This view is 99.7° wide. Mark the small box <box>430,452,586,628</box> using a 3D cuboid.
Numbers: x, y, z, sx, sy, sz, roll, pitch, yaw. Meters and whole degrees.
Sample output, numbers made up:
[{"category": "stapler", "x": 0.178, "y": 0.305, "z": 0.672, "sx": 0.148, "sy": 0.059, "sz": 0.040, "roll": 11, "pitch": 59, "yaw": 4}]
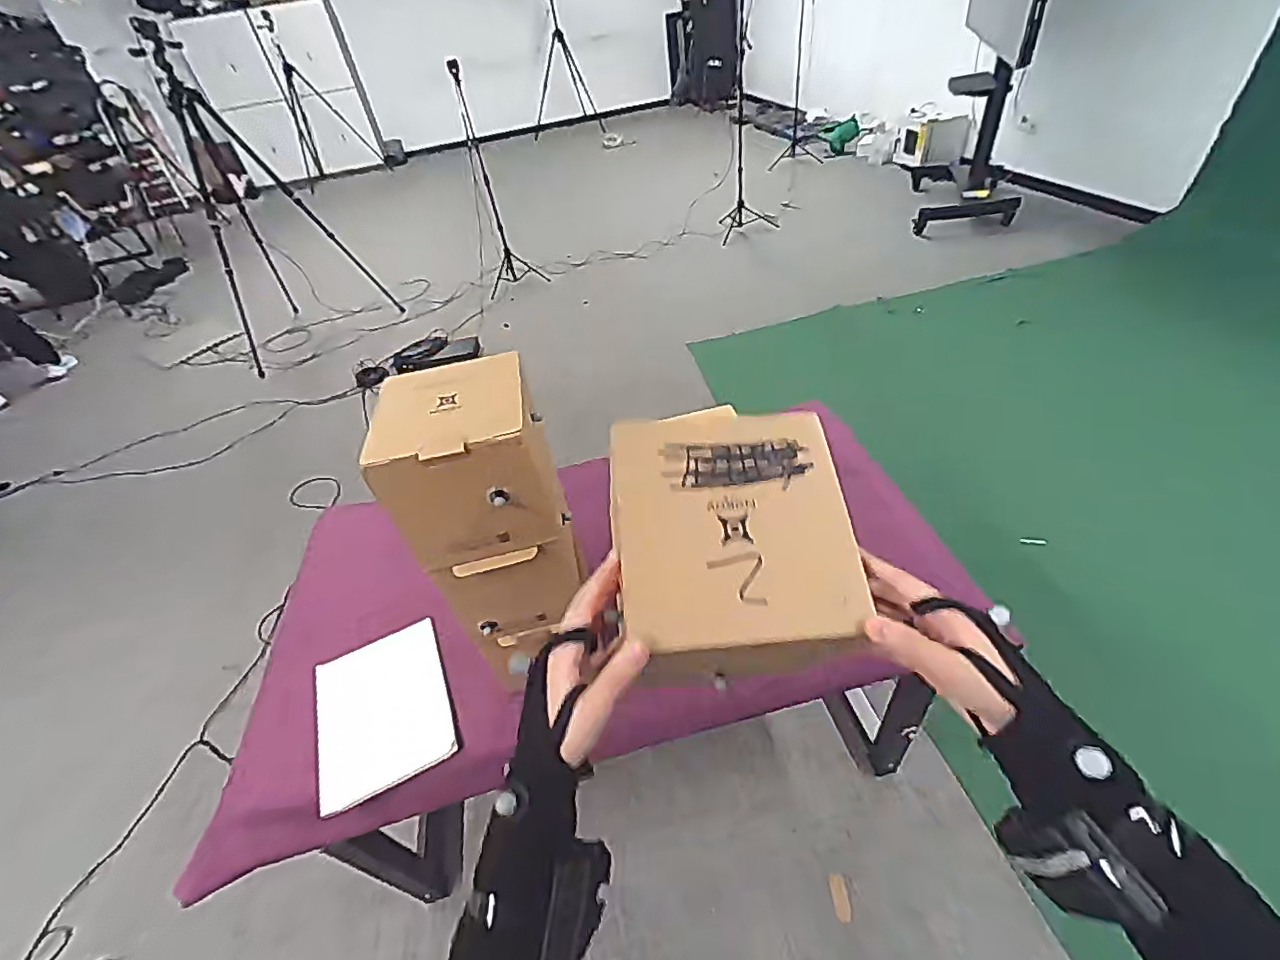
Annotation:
[{"category": "small box", "x": -0.179, "y": 0.089, "z": 0.767, "sx": 0.168, "sy": 0.176, "sz": 0.179, "roll": -13, "pitch": 41, "yaw": -3}]

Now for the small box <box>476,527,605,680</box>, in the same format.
[{"category": "small box", "x": -0.159, "y": 0.206, "z": 0.883, "sx": 0.168, "sy": 0.176, "sz": 0.179, "roll": -13, "pitch": 43, "yaw": -4}]

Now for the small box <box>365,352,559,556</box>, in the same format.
[{"category": "small box", "x": -0.199, "y": -0.026, "z": 0.654, "sx": 0.168, "sy": 0.176, "sz": 0.179, "roll": -12, "pitch": 42, "yaw": -3}]

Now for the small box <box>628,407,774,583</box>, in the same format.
[{"category": "small box", "x": 0.084, "y": 0.021, "z": 0.792, "sx": 0.168, "sy": 0.176, "sz": 0.179, "roll": -13, "pitch": 42, "yaw": -3}]
